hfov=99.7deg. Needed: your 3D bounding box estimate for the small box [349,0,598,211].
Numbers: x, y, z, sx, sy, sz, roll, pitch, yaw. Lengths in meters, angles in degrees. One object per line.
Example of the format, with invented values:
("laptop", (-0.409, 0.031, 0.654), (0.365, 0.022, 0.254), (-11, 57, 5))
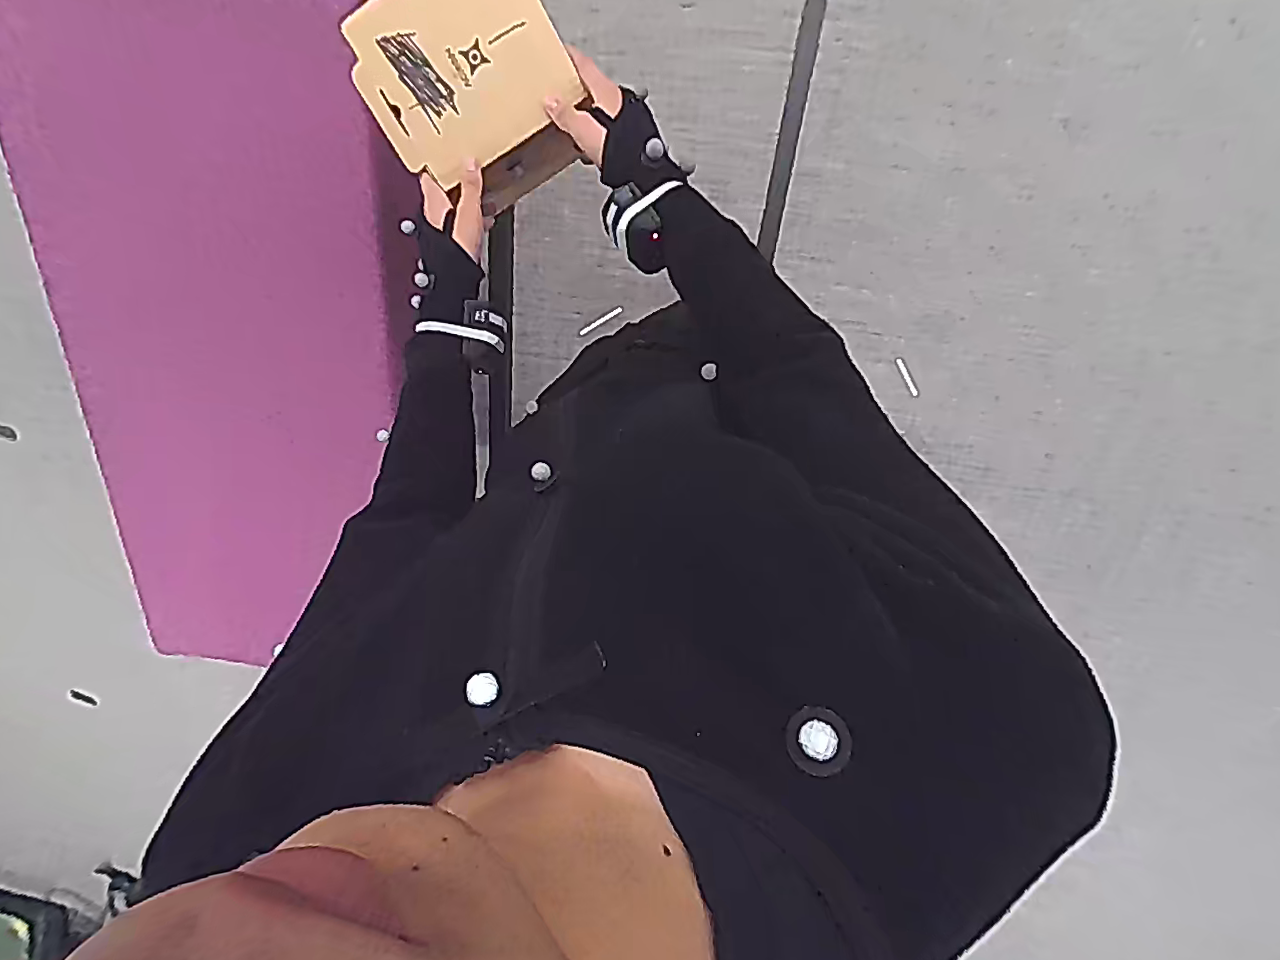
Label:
("small box", (-0.159, -0.421, 0.586), (0.179, 0.176, 0.168), (-29, 106, 7))
